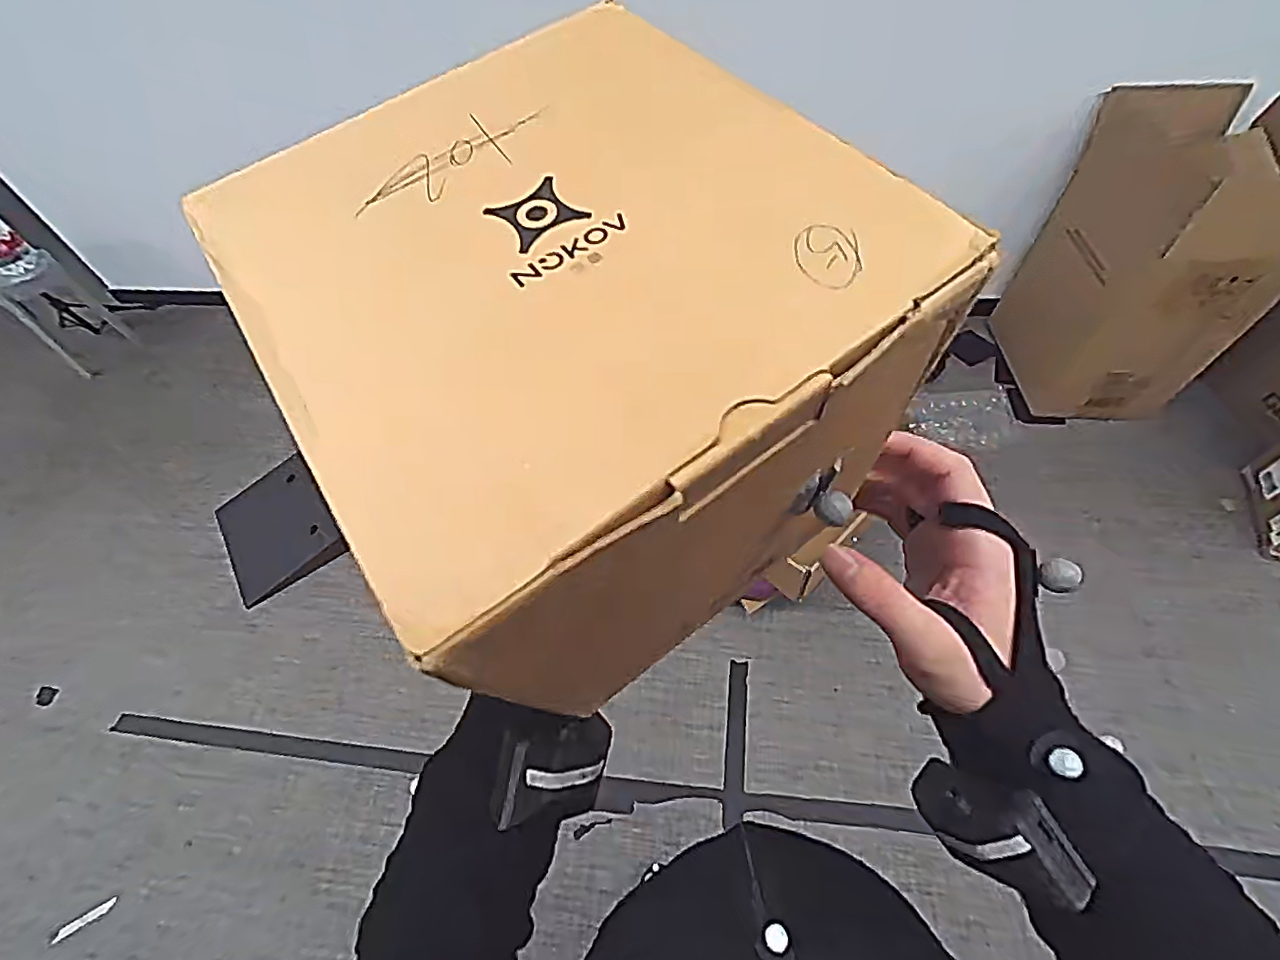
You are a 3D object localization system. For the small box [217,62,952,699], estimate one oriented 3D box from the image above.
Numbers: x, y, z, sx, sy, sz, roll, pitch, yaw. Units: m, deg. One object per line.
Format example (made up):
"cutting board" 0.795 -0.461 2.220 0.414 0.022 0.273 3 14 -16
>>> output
"small box" -0.021 -0.026 0.235 0.168 0.176 0.179 -35 64 -13
